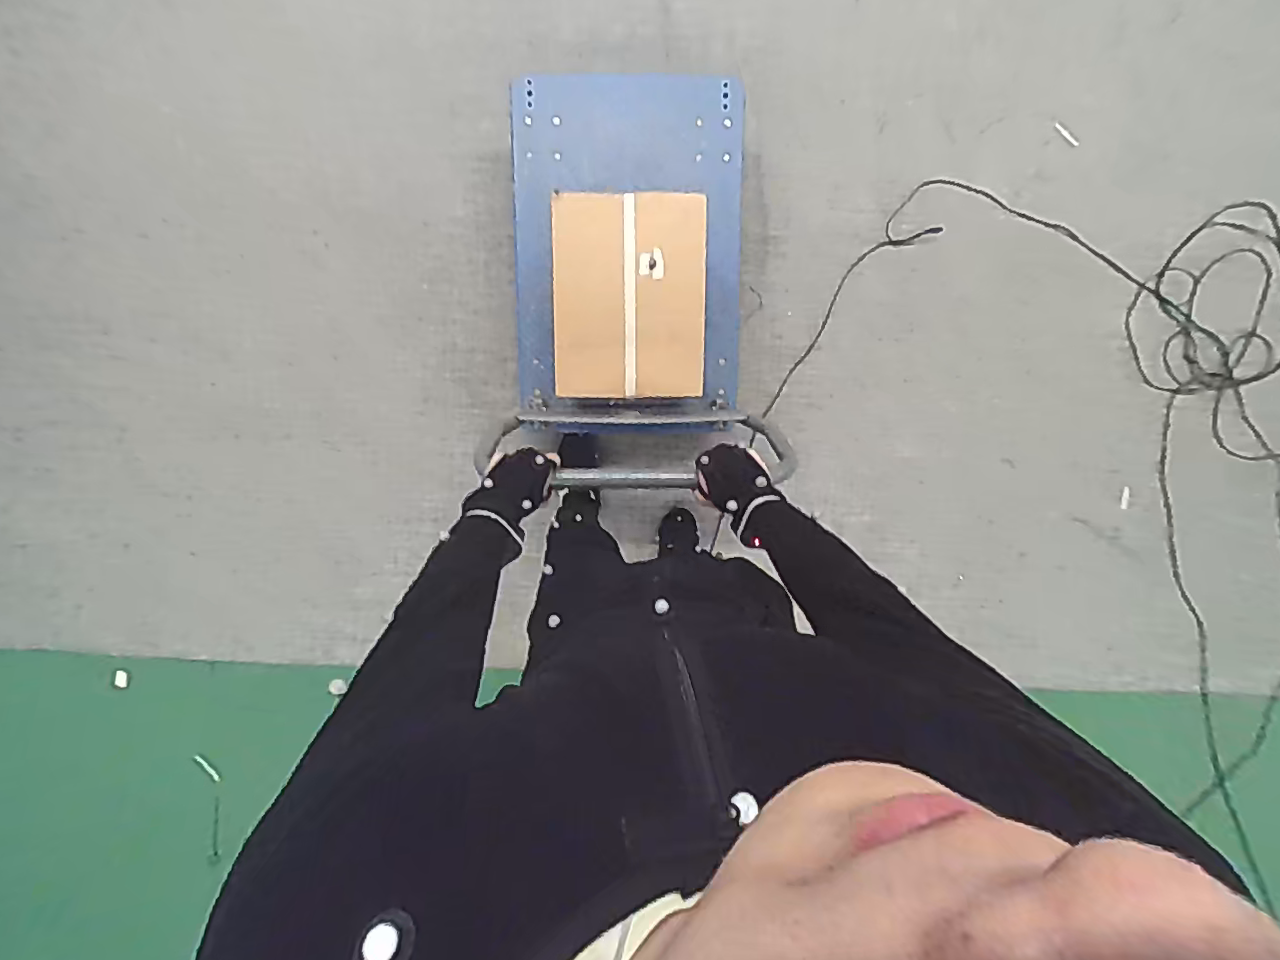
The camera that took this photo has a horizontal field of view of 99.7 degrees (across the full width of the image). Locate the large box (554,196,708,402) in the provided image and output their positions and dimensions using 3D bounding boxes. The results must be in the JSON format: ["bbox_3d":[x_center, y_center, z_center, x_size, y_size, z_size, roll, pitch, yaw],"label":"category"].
[{"bbox_3d":[-0.016,-0.389,1.254,0.320,0.320,0.408,0,98,-1],"label":"large box"}]
